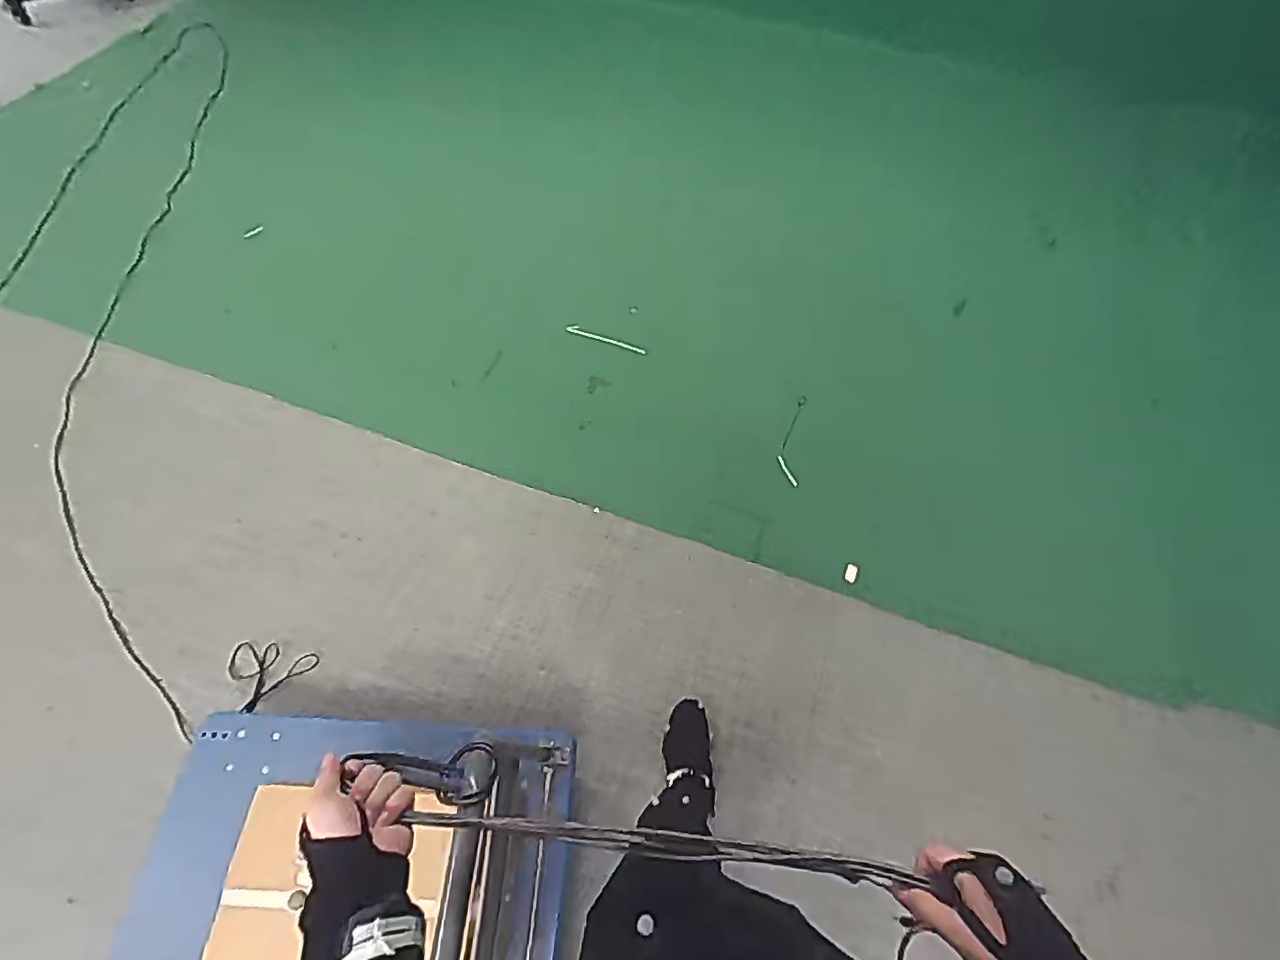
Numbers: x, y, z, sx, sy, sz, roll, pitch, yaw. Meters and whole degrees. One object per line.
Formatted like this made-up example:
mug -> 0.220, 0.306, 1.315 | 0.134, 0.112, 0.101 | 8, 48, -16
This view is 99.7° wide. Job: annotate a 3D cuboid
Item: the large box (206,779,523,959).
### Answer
large box -> -0.455, 0.732, 0.985 | 0.408, 0.320, 0.320 | 2, 62, 2
